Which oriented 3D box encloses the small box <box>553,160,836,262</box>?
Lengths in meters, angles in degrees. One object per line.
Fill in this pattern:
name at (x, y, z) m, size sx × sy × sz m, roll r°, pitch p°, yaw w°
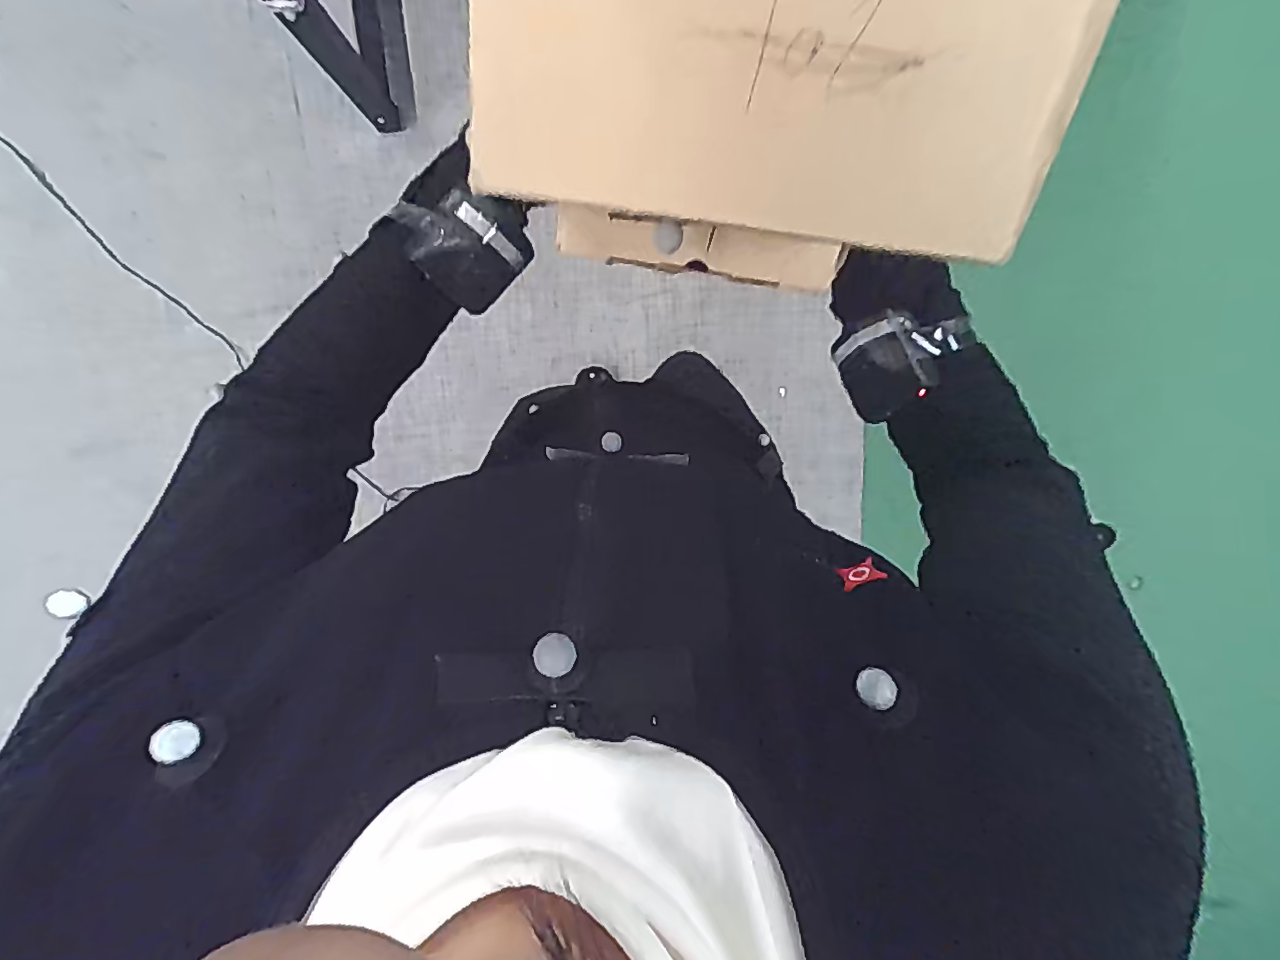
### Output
small box at (0.037, -0.252, 0.350) m, size 0.168 × 0.176 × 0.179 m, roll 4°, pitch 119°, yaw -4°
